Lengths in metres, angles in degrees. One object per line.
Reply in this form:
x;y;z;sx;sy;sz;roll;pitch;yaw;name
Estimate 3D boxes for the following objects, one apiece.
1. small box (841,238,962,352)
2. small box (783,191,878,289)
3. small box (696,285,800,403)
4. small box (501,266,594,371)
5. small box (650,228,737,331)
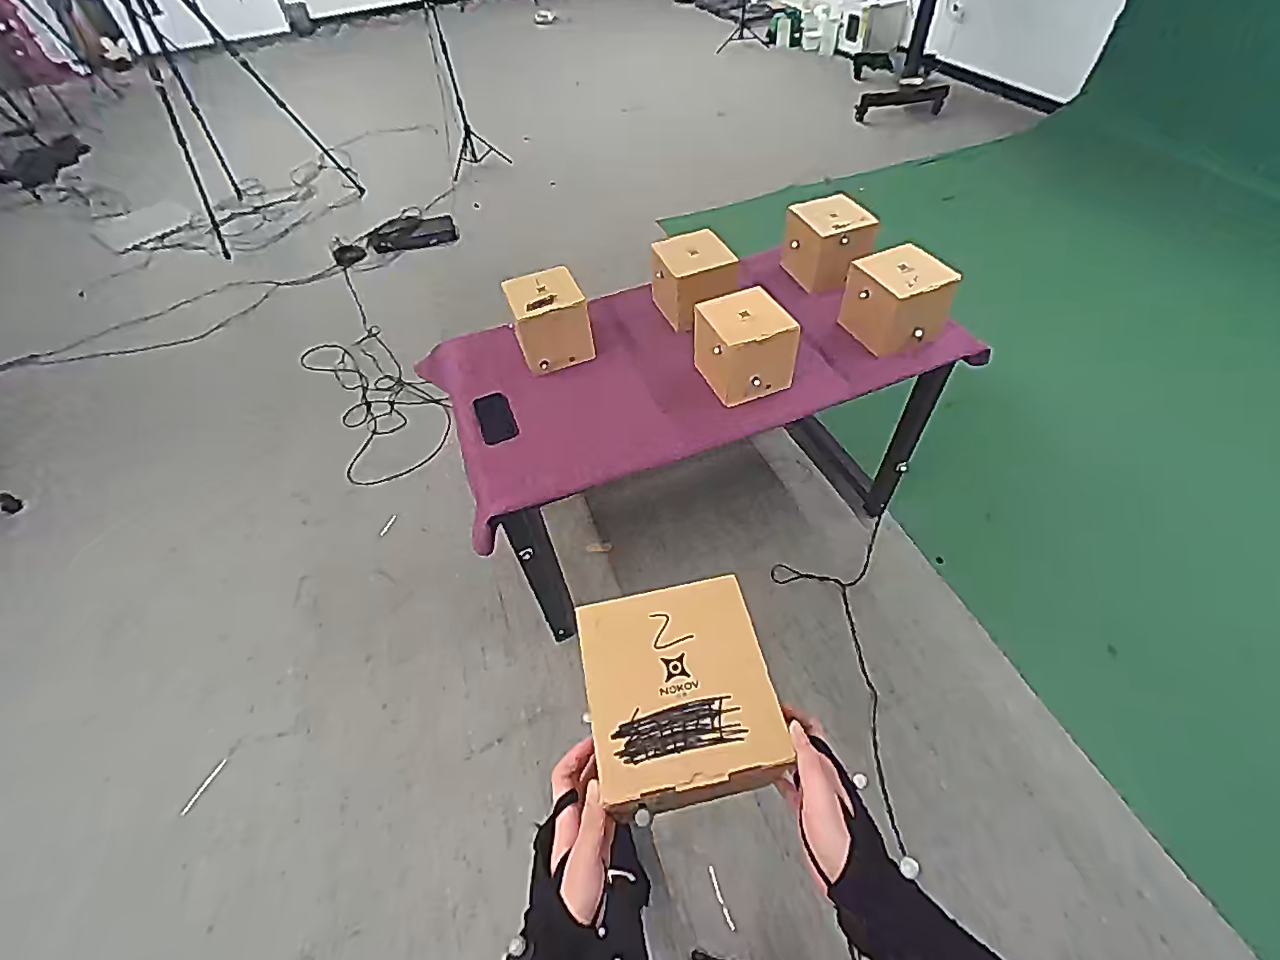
0.600;-0.431;1.269;0.168;0.176;0.179;-21;53;-8;small box
0.500;-0.642;1.452;0.168;0.176;0.179;-19;52;-8;small box
0.232;-0.304;1.216;0.168;0.176;0.179;-20;52;-10;small box
-0.222;-0.389;1.331;0.168;0.176;0.179;-20;52;-9;small box
0.135;-0.515;1.395;0.168;0.176;0.179;-20;53;-8;small box
